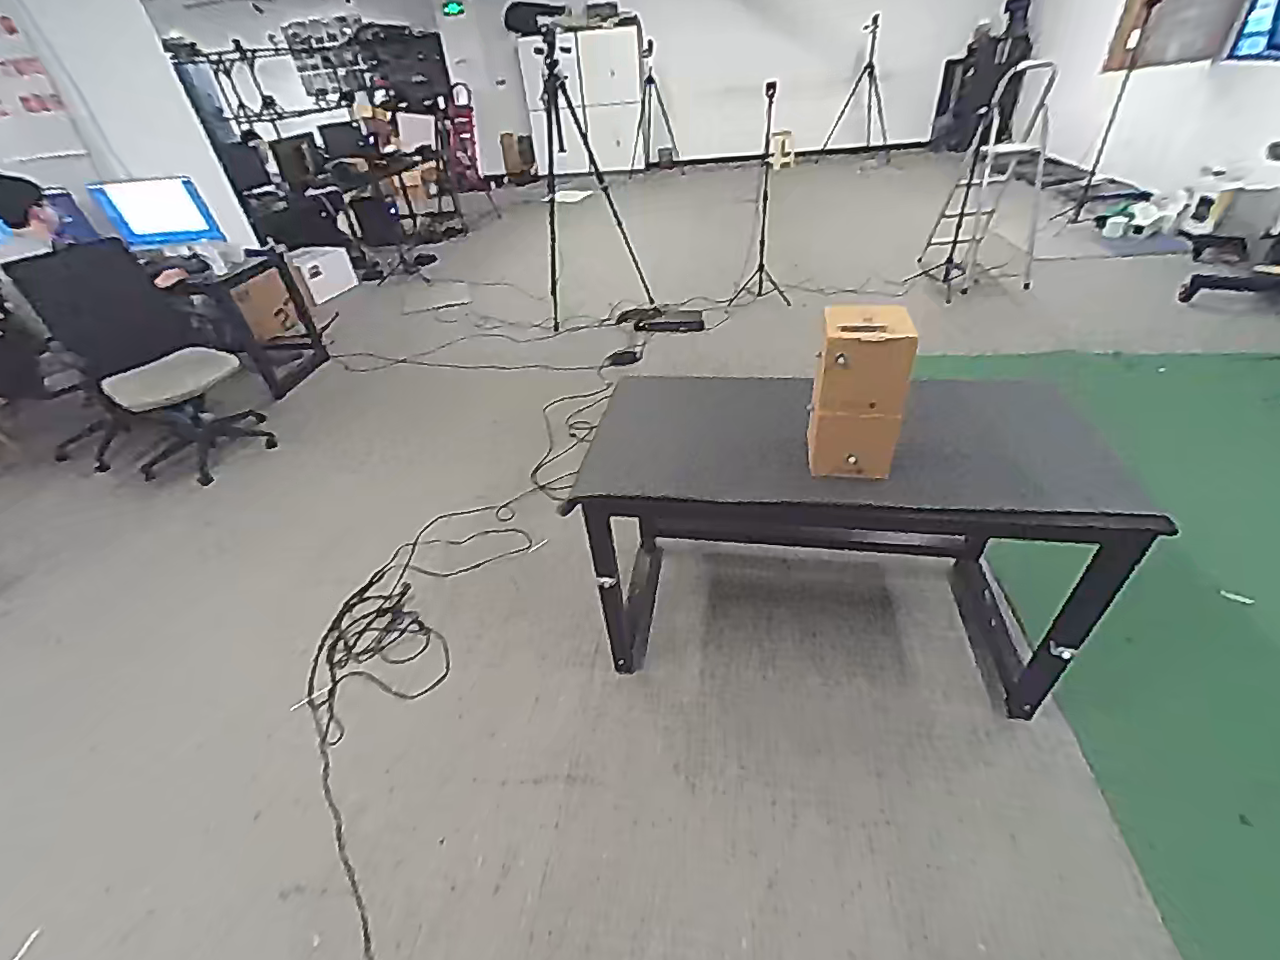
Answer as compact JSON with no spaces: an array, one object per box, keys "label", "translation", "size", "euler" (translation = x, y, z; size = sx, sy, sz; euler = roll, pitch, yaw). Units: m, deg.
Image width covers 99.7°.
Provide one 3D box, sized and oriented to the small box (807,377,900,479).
[{"label":"small box","translation":[0.479,-0.122,1.240],"size":[0.168,0.176,0.179],"euler":[3,38,12]}]
